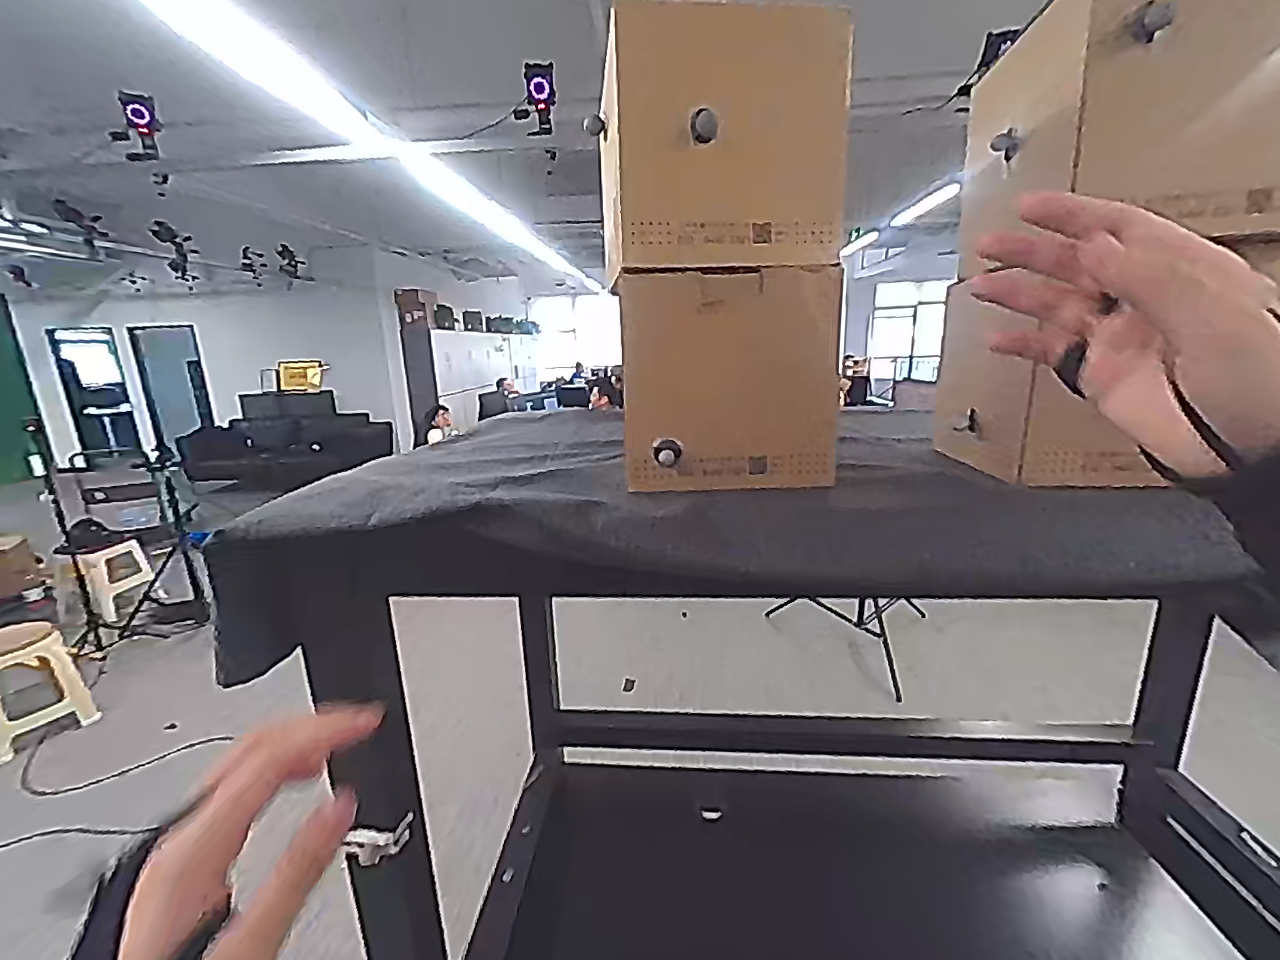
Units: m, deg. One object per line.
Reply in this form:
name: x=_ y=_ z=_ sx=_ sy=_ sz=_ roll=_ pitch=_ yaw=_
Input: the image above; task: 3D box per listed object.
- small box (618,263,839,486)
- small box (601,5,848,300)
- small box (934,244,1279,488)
small box: x=0.070 y=-0.090 z=0.491 sx=0.168 sy=0.176 sz=0.179 roll=-1 pitch=12 yaw=1
small box: x=0.057 y=-0.248 z=0.454 sx=0.168 sy=0.176 sz=0.179 roll=-3 pitch=12 yaw=-6
small box: x=0.372 y=-0.092 z=0.457 sx=0.168 sy=0.176 sz=0.179 roll=0 pitch=14 yaw=8
